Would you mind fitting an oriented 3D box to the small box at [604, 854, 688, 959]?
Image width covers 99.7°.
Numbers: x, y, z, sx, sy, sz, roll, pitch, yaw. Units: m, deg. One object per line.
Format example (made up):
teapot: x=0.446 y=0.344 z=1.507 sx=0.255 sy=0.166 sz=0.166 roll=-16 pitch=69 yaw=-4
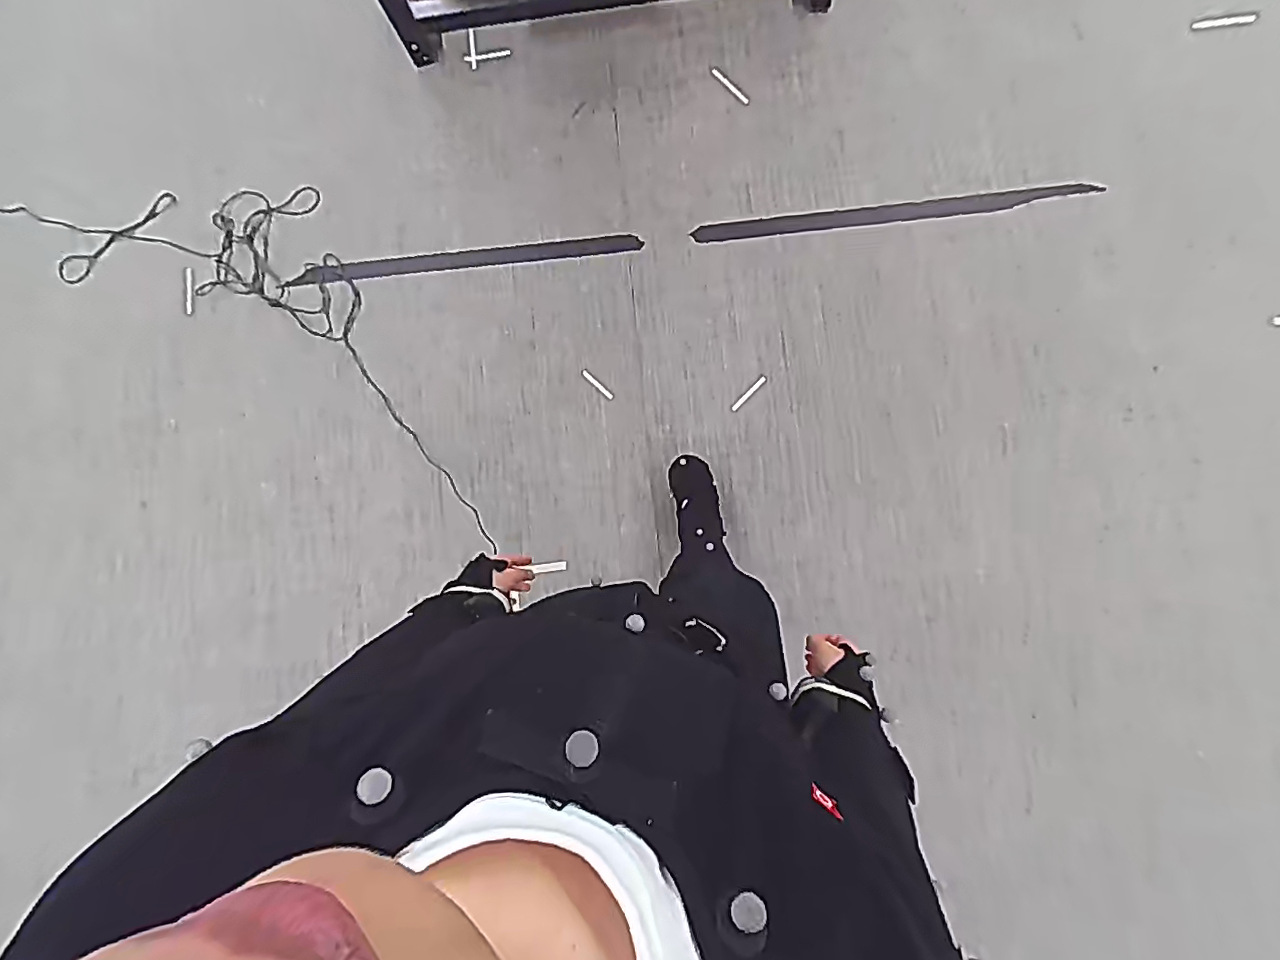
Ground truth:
small box: x=0.018 y=0.991 z=1.240 sx=0.179 sy=0.176 sz=0.168 roll=-4 pitch=84 yaw=3
